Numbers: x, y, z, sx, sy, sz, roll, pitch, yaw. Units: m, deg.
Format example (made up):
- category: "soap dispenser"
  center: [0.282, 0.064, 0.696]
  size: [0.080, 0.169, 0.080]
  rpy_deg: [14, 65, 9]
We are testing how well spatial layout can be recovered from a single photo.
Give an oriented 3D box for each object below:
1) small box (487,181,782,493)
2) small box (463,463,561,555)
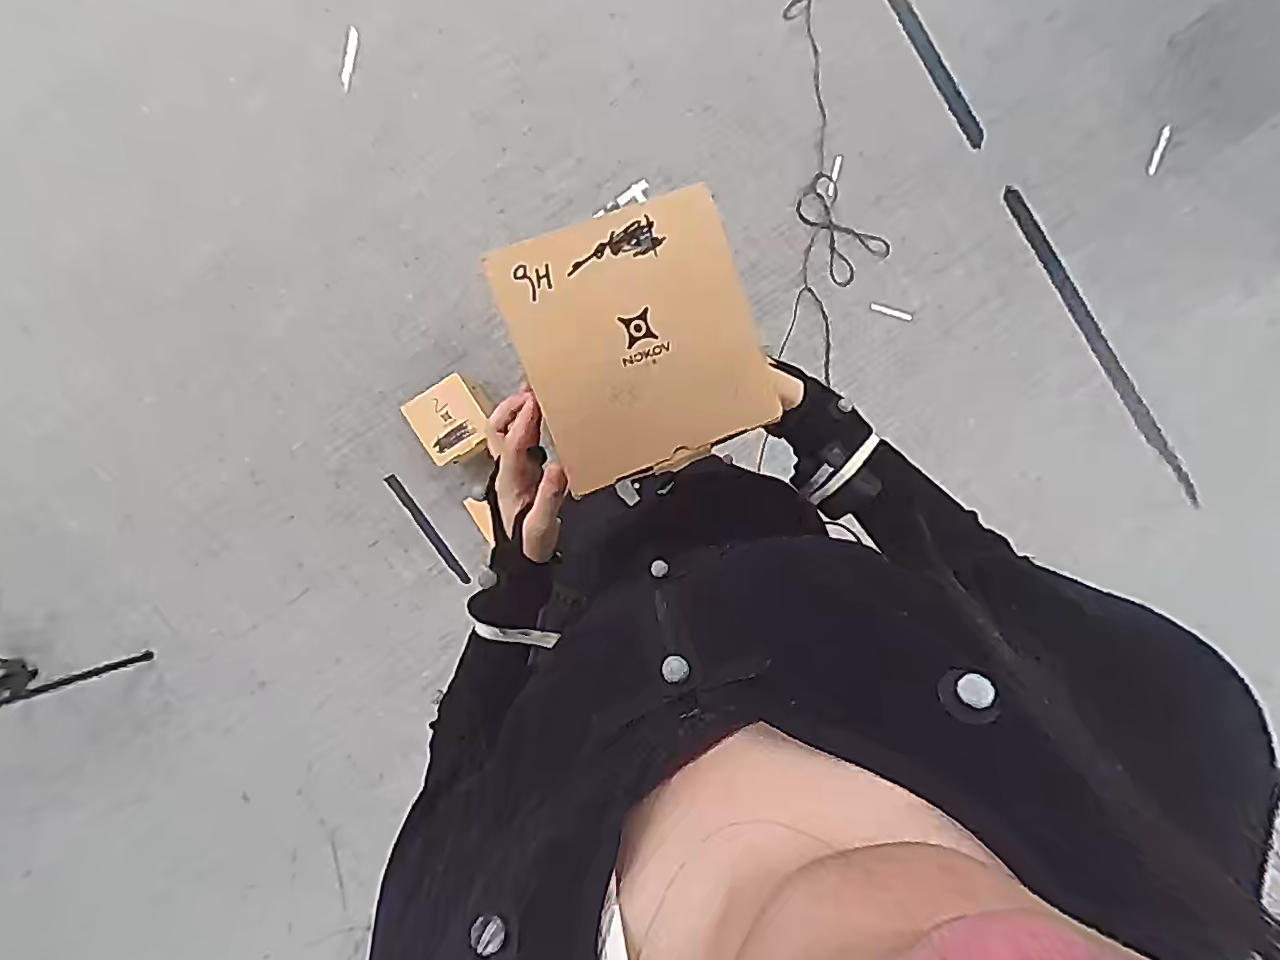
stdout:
- category: "small box"
  center: [-0.011, -0.107, 0.451]
  size: [0.168, 0.176, 0.179]
  rpy_deg: [-21, 99, -8]
- category: "small box"
  center: [-0.321, 0.069, 1.398]
  size: [0.179, 0.176, 0.168]
  rpy_deg: [-31, 94, -1]
